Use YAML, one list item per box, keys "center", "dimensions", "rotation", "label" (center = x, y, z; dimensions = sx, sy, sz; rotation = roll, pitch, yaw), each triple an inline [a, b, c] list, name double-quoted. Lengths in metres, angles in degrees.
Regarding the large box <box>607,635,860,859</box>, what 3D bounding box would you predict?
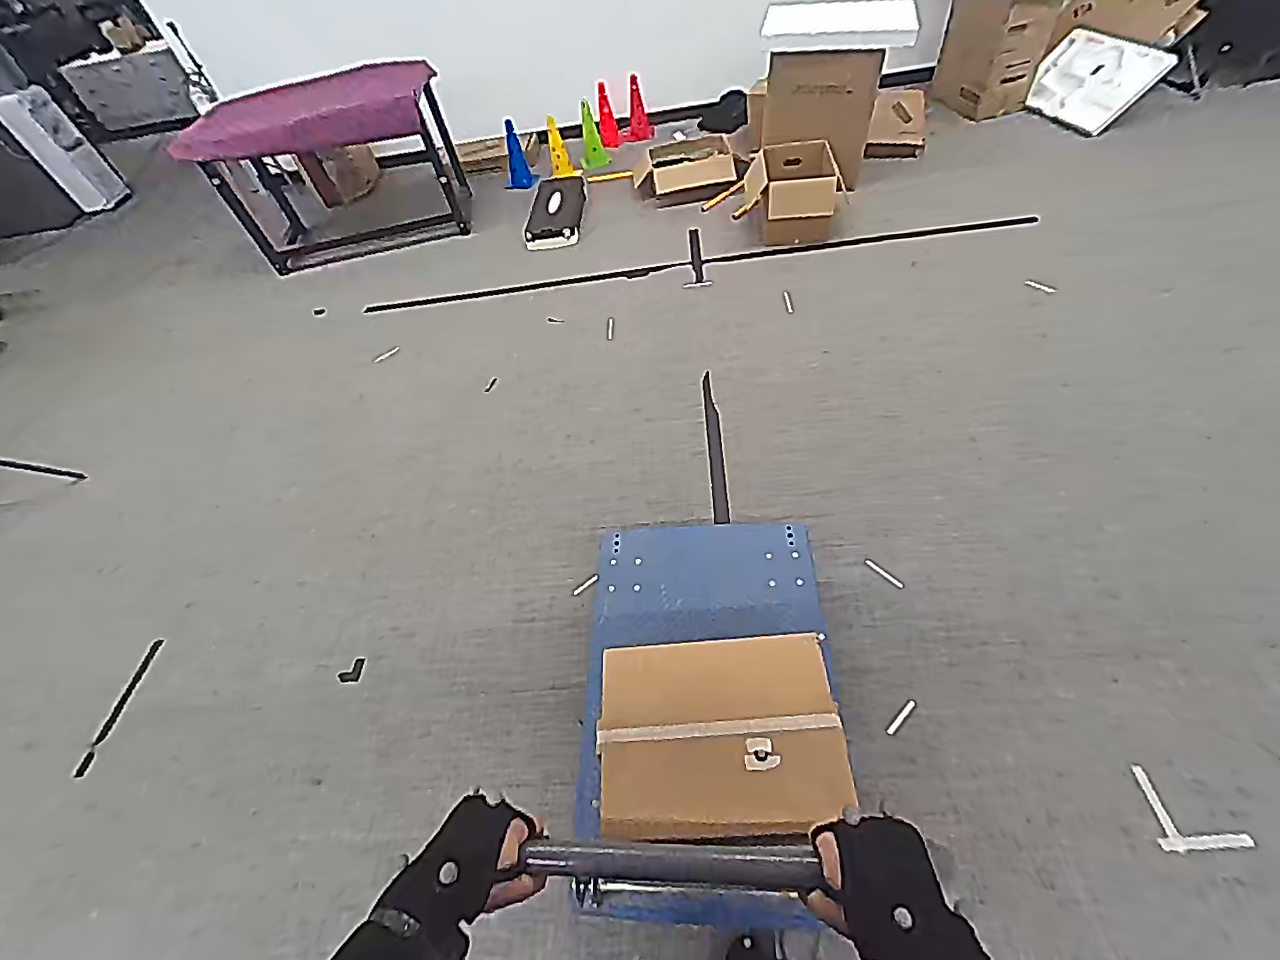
- center: [0.156, 0.525, 1.050]
  dimensions: [0.408, 0.320, 0.320]
  rotation: [-6, 51, 5]
  label: "large box"
